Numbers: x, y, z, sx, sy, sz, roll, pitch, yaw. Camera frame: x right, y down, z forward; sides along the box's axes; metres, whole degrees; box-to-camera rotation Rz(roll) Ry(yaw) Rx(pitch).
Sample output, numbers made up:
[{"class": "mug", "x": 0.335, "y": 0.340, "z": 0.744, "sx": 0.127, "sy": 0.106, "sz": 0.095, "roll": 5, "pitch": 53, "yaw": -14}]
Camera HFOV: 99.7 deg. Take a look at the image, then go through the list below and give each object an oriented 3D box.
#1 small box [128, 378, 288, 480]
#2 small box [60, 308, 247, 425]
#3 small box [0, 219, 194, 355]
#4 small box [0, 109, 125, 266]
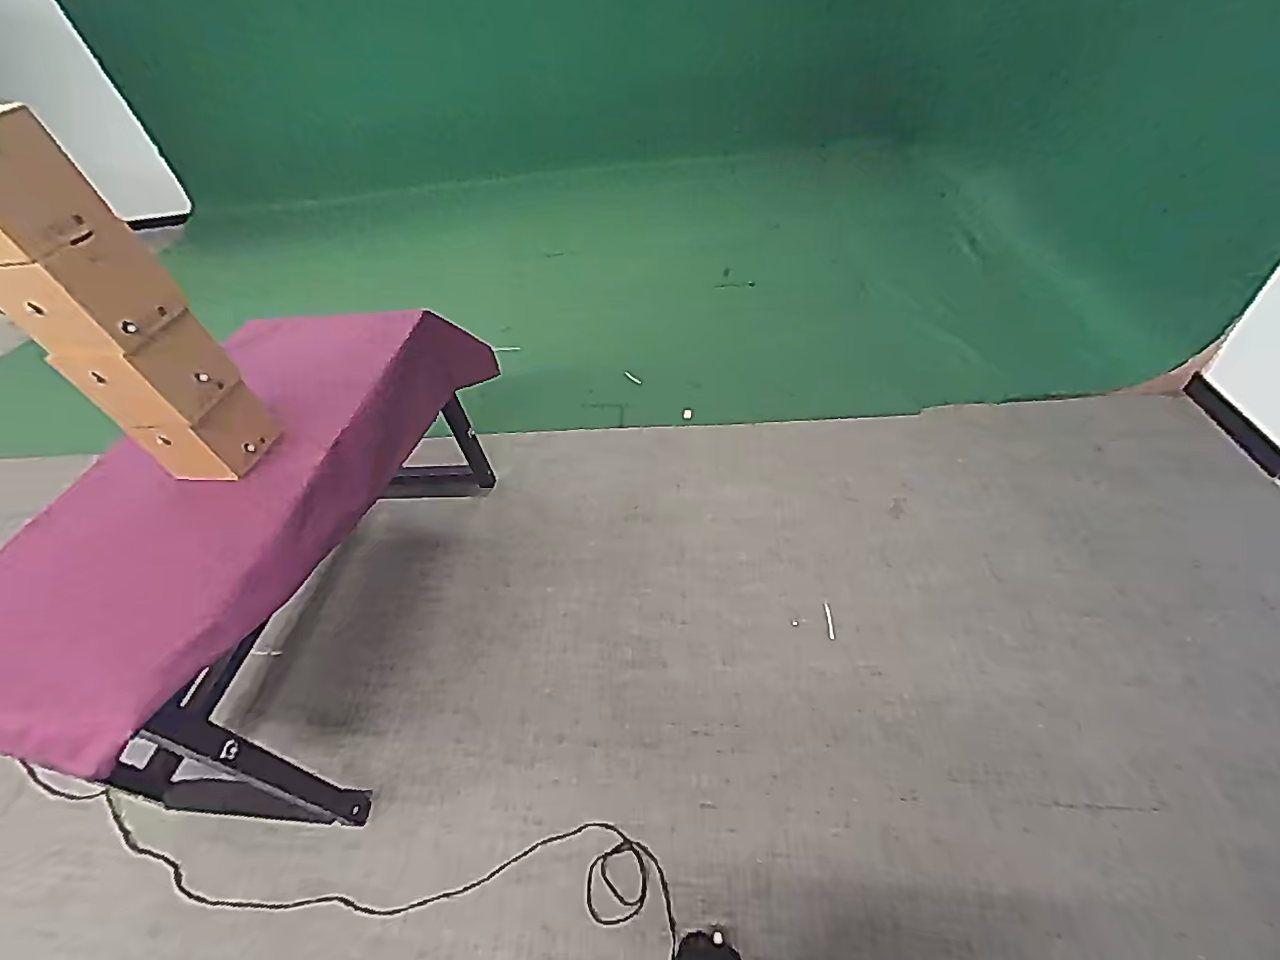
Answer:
[{"class": "small box", "x": -0.942, "y": -0.115, "z": 1.198, "sx": 0.179, "sy": 0.176, "sz": 0.168, "roll": 2, "pitch": 48, "yaw": 12}, {"class": "small box", "x": -0.949, "y": -0.222, "z": 1.074, "sx": 0.179, "sy": 0.176, "sz": 0.168, "roll": 1, "pitch": 49, "yaw": 11}, {"class": "small box", "x": -0.960, "y": -0.336, "z": 0.956, "sx": 0.179, "sy": 0.176, "sz": 0.168, "roll": 1, "pitch": 48, "yaw": 12}, {"class": "small box", "x": -0.986, "y": -0.446, "z": 0.837, "sx": 0.179, "sy": 0.176, "sz": 0.168, "roll": 2, "pitch": 49, "yaw": 13}]
